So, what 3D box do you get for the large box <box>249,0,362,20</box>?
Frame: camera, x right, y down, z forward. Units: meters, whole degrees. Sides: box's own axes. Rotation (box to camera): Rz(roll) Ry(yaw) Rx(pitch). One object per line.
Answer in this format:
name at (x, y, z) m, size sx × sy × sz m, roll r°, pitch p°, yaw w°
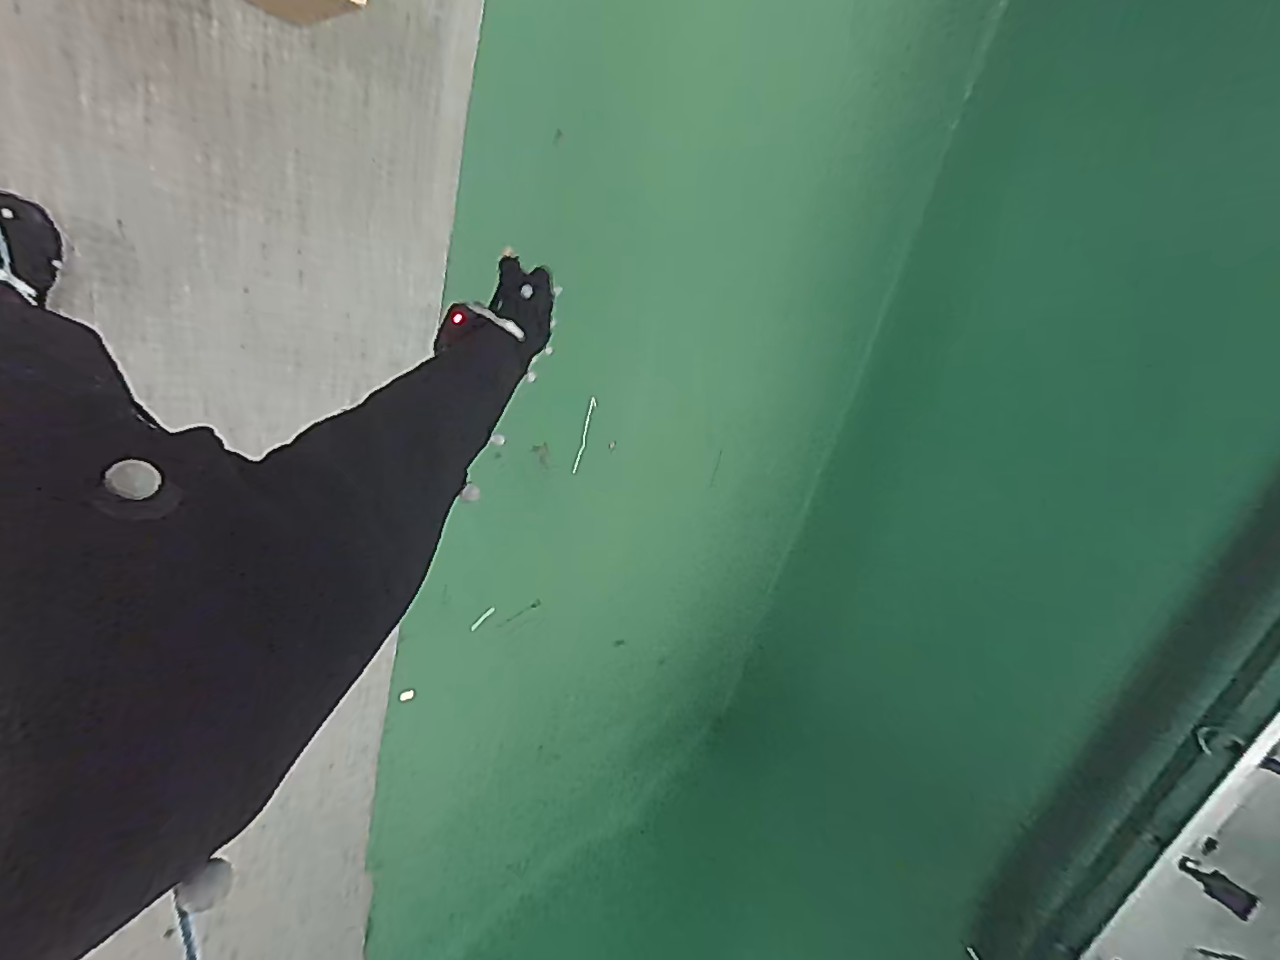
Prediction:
large box at (-0.601, -0.877, 0.685) m, size 0.408 × 0.320 × 0.320 m, roll -4°, pitch 117°, yaw -48°
